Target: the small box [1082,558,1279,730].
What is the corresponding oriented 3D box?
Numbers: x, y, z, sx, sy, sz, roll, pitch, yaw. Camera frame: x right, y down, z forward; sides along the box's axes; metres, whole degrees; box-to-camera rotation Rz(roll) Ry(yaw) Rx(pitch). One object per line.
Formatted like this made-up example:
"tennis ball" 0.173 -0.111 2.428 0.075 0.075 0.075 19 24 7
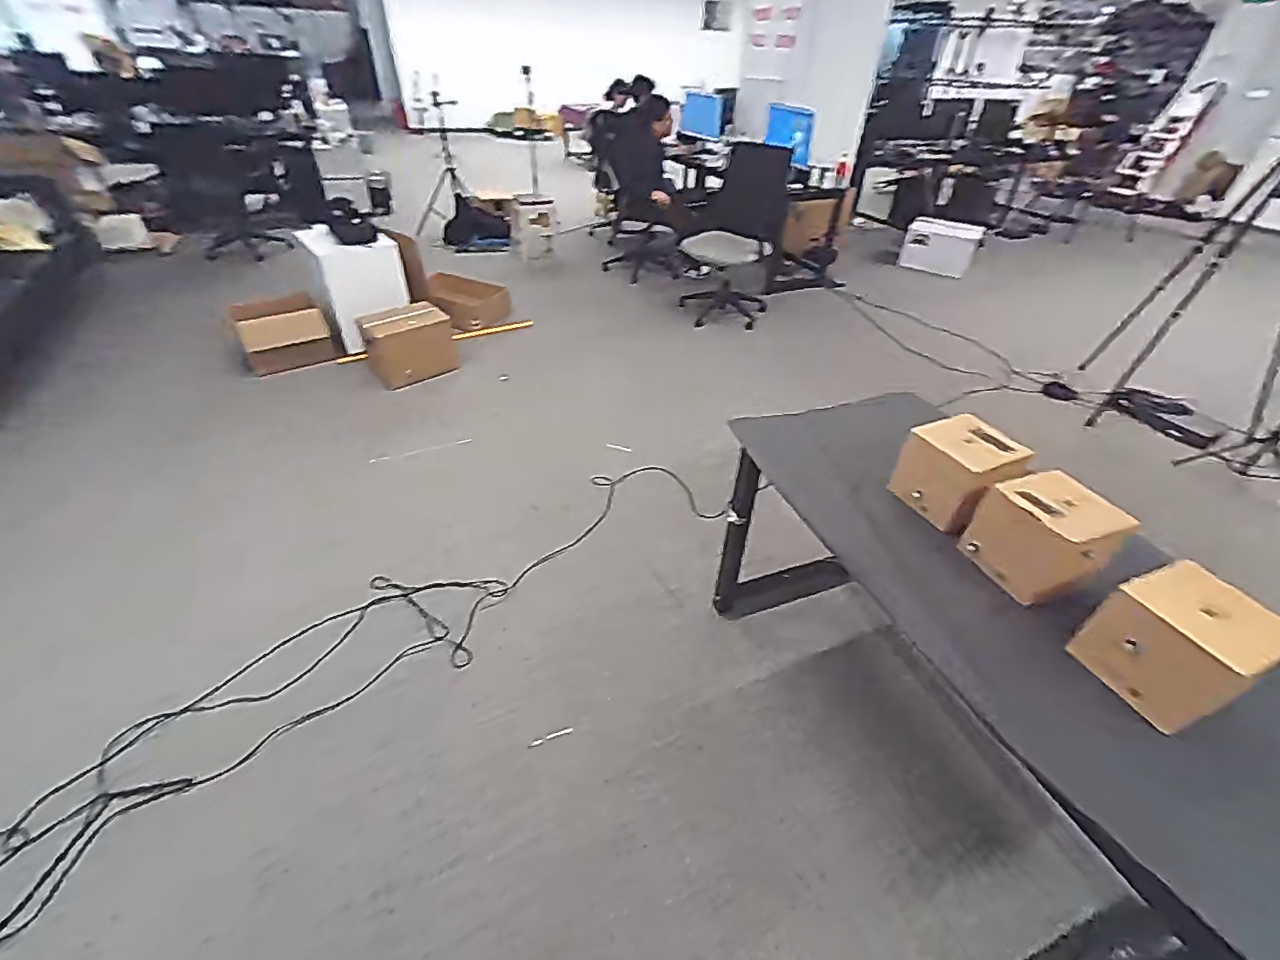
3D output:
"small box" 0.844 0.254 0.840 0.179 0.176 0.168 -13 41 -19
